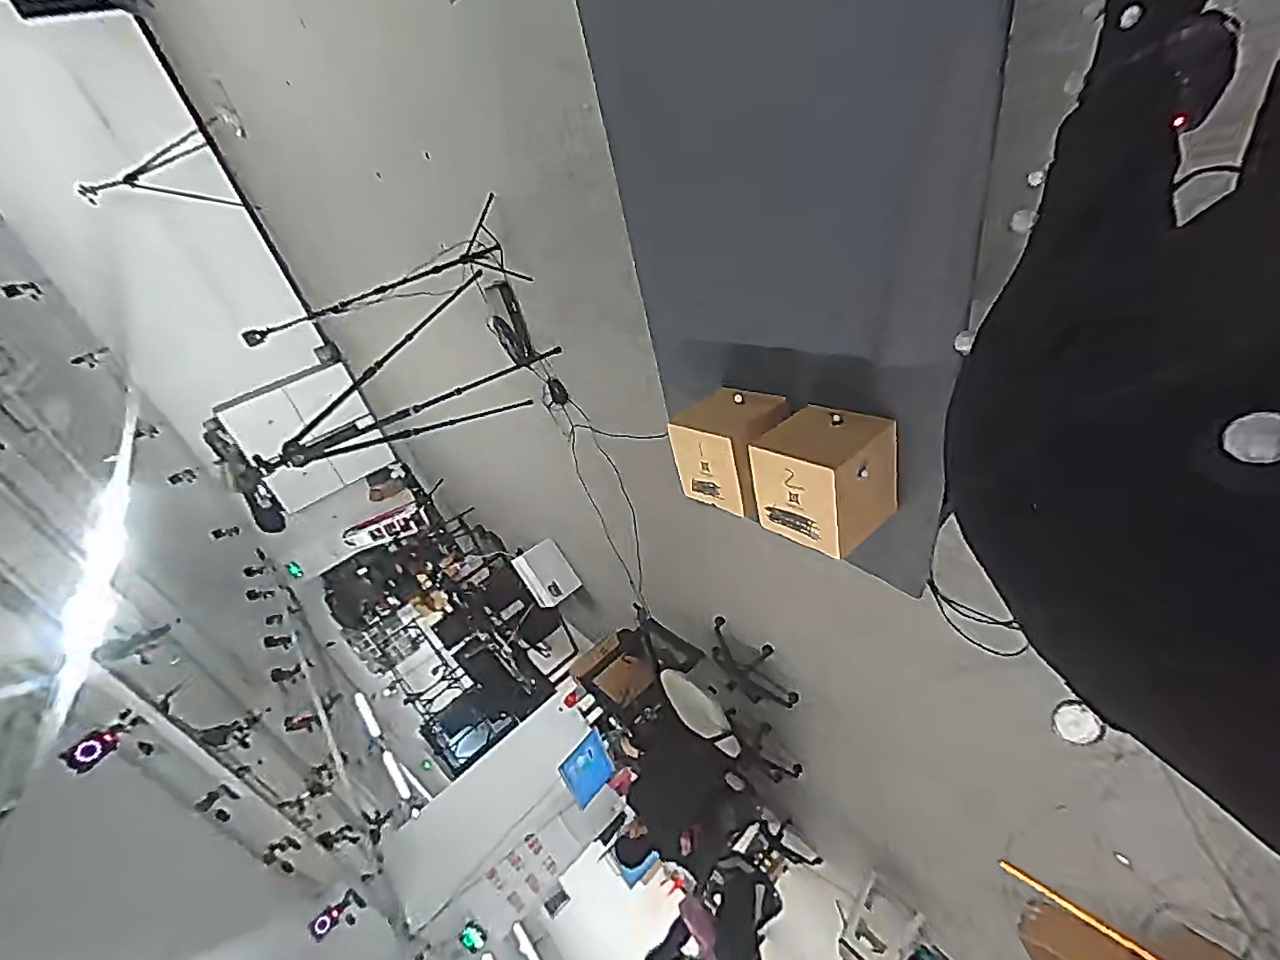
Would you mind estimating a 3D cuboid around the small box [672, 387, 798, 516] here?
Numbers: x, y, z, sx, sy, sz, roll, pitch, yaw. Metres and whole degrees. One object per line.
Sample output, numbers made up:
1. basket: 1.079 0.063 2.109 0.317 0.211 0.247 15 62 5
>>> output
1. small box: 0.193 -0.062 1.066 0.168 0.176 0.179 21 136 47
